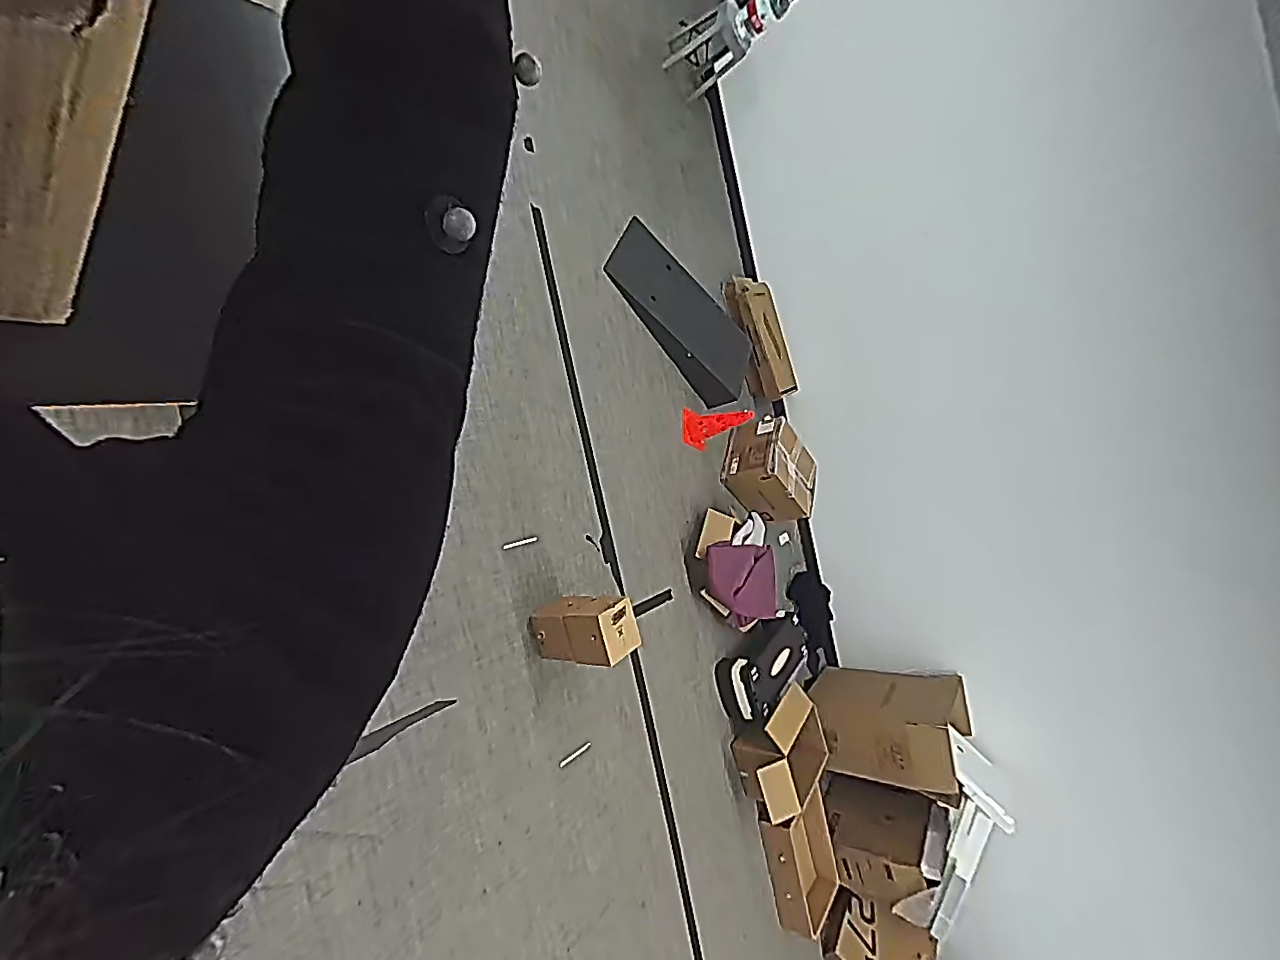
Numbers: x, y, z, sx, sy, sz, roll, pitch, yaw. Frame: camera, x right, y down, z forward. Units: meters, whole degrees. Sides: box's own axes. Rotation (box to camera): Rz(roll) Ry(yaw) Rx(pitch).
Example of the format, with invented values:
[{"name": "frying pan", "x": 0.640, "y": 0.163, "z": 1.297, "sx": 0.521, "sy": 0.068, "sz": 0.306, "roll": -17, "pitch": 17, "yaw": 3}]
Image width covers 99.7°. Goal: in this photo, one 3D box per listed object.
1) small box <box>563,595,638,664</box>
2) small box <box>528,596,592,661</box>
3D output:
[{"name": "small box", "x": -0.137, "y": 0.501, "z": 1.820, "sx": 0.168, "sy": 0.176, "sz": 0.179, "roll": -20, "pitch": 98, "yaw": -51}, {"name": "small box", "x": -0.266, "y": 0.521, "z": 1.921, "sx": 0.179, "sy": 0.176, "sz": 0.168, "roll": -23, "pitch": 99, "yaw": -50}]
